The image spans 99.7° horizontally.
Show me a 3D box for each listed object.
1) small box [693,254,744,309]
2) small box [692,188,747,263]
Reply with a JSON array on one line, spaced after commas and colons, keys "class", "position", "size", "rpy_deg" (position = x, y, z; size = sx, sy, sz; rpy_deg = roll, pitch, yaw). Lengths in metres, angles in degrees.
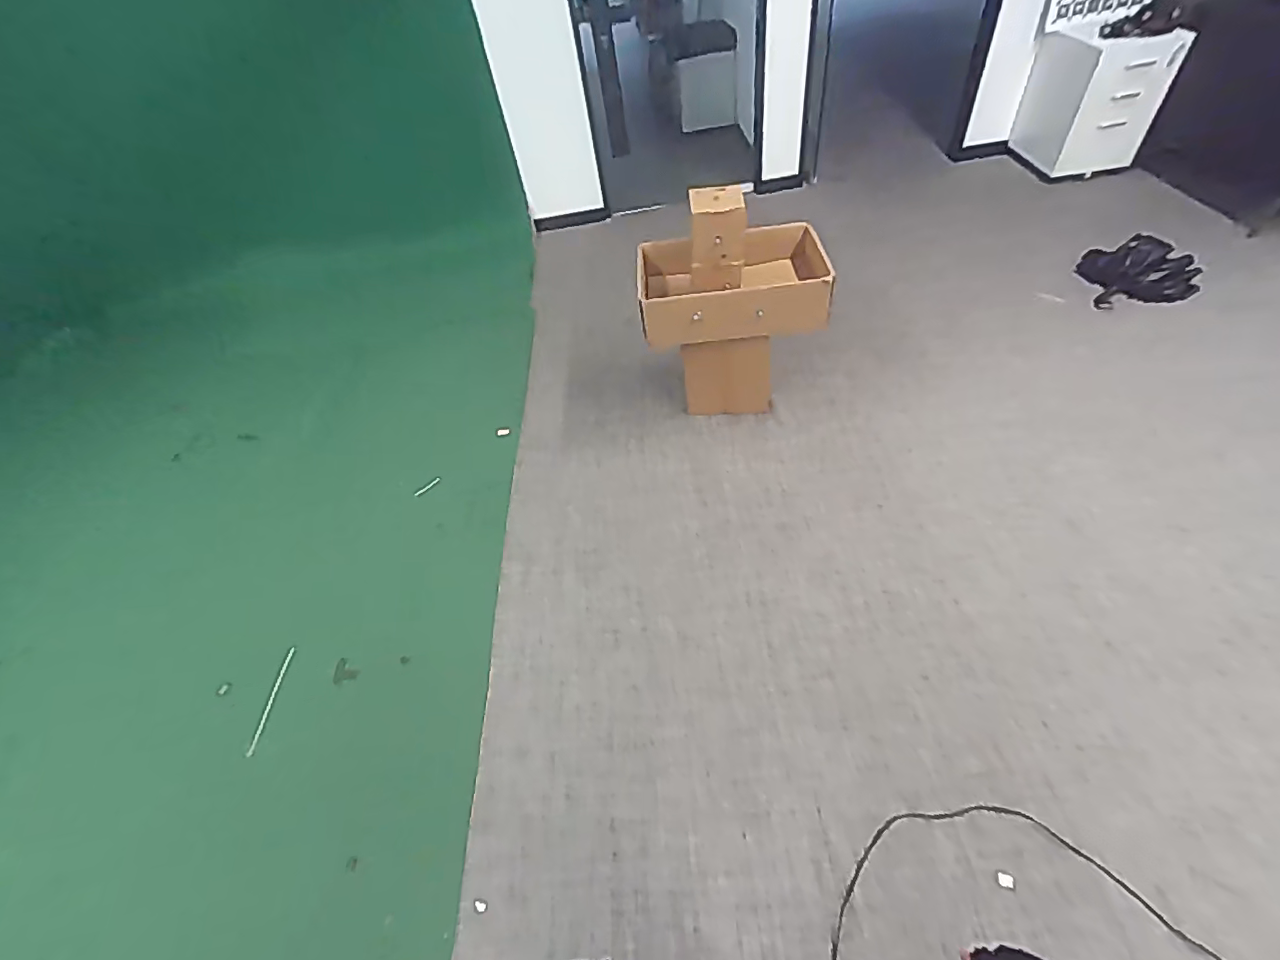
[{"class": "small box", "position": [0.270, -0.704, 1.872], "size": [0.168, 0.176, 0.179], "rpy_deg": [-2, 47, 5]}, {"class": "small box", "position": [0.256, -0.820, 1.756], "size": [0.168, 0.176, 0.179], "rpy_deg": [-2, 49, 5]}]
